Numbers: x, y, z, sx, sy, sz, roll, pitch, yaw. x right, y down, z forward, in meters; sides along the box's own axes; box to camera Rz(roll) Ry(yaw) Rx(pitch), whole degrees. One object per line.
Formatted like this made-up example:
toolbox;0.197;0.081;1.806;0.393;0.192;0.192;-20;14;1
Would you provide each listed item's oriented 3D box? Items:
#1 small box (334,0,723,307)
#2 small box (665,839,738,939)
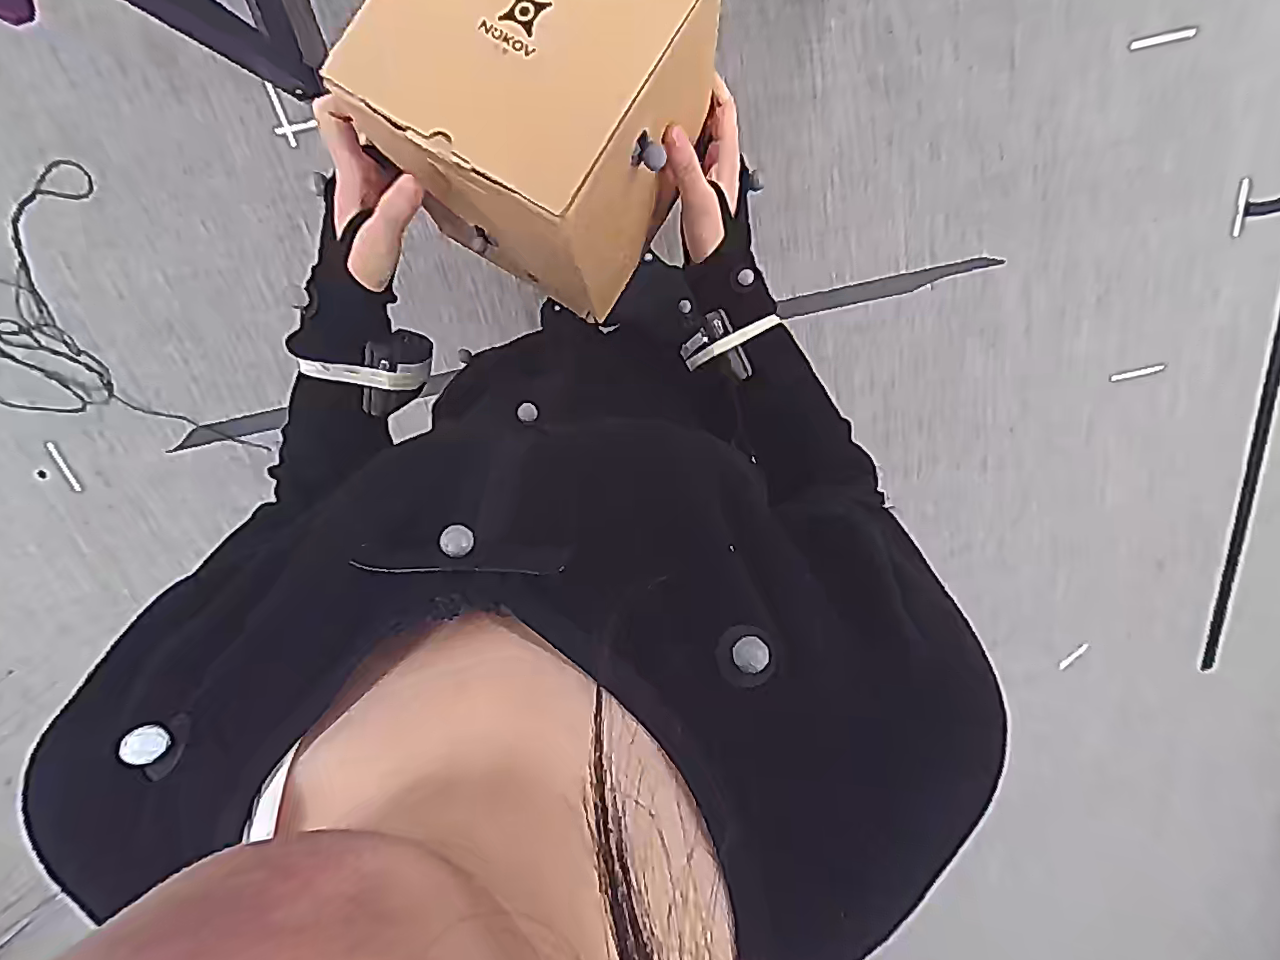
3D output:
small box;-0.061;-0.258;0.385;0.168;0.176;0.179;31;90;3
small box;0.181;1.225;1.630;0.179;0.176;0.168;-13;111;1
